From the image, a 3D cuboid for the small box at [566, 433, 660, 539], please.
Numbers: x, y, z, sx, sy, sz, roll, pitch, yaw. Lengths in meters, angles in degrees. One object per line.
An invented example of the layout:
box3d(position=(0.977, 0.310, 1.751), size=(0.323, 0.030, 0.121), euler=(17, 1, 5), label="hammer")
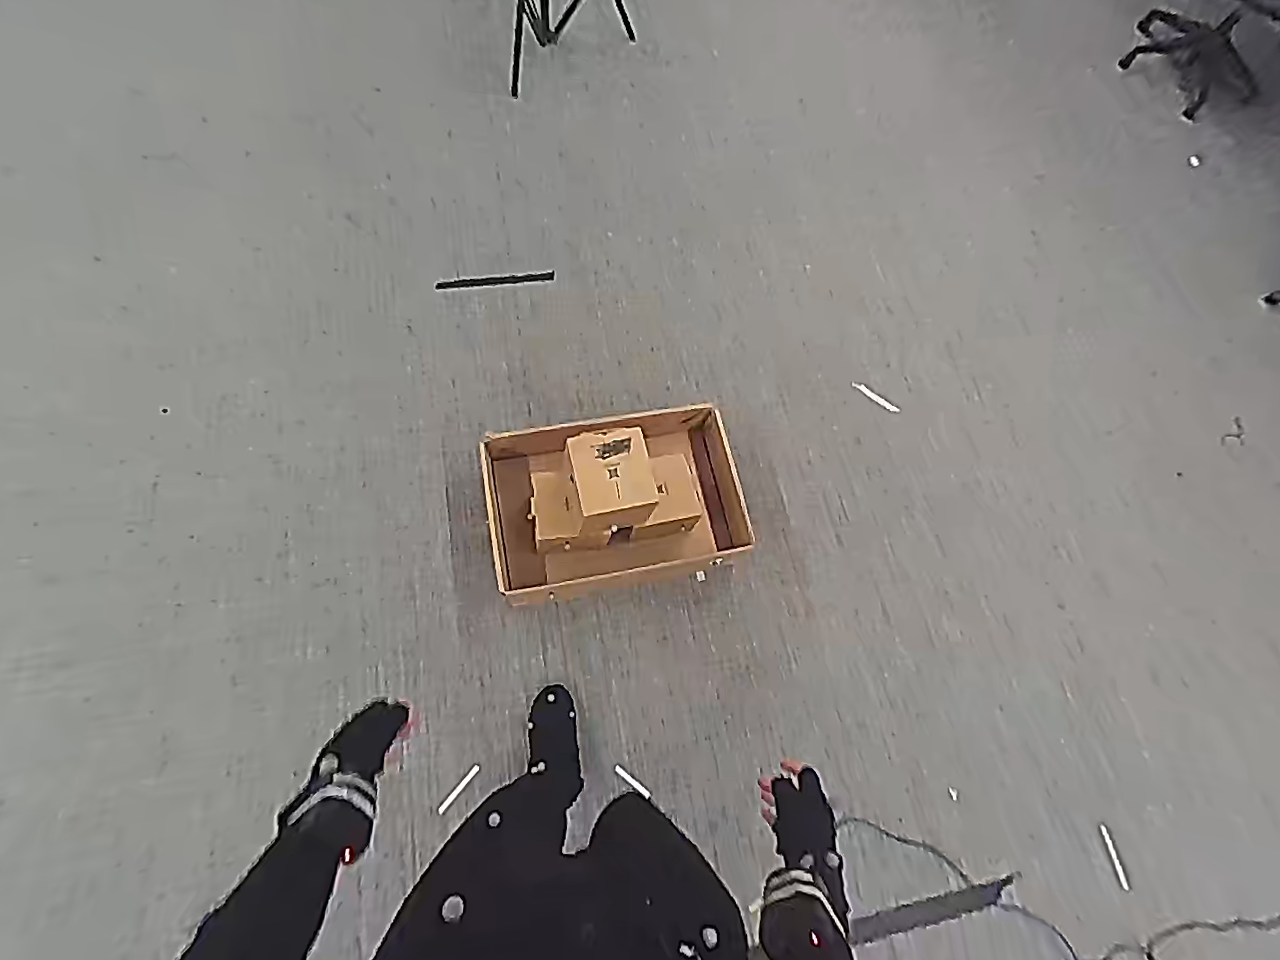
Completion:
box3d(position=(-0.068, 0.018, 1.207), size=(0.168, 0.176, 0.179), euler=(-10, 72, -14), label="small box")
